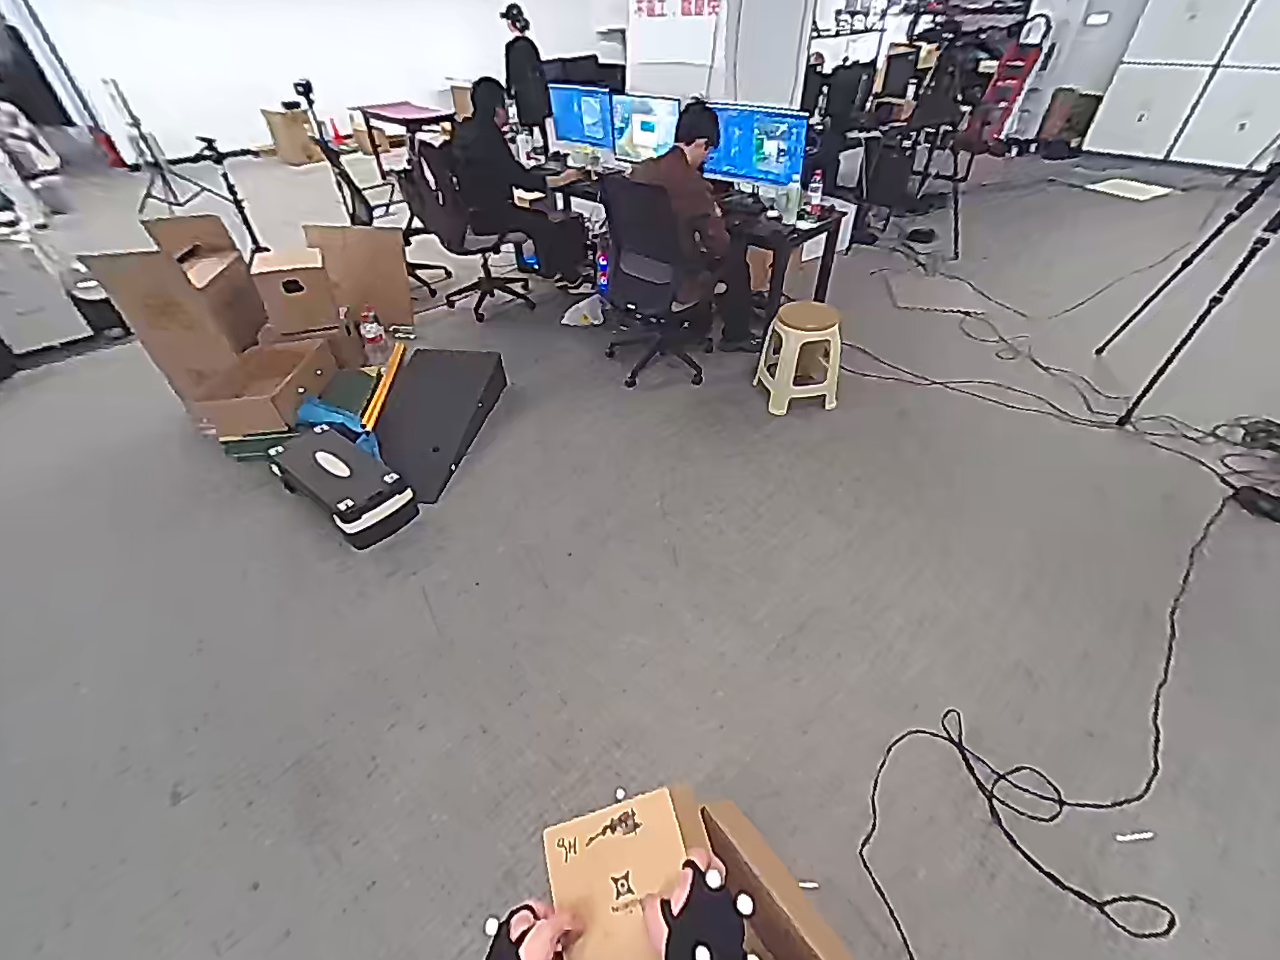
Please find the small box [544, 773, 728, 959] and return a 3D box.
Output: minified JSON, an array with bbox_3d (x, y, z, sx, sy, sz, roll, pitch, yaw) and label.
[{"bbox_3d":[0.001,0.495,0.692,0.168,0.176,0.179,-24,59,5],"label":"small box"}]
